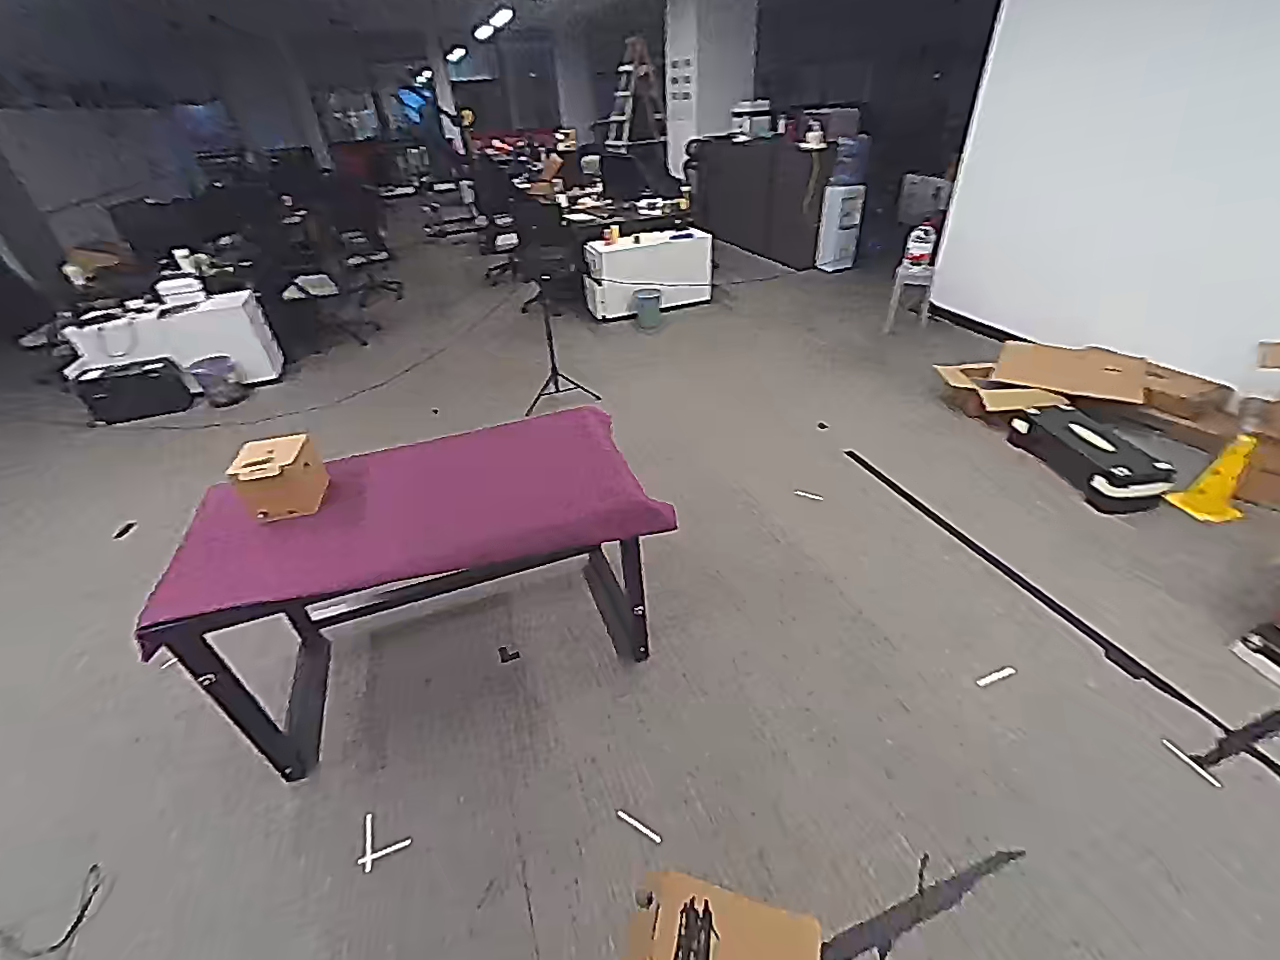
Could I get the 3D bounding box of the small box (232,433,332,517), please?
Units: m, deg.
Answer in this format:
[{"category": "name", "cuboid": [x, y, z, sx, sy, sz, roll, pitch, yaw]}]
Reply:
[{"category": "small box", "cuboid": [-1.006, -0.010, 1.538, 0.168, 0.176, 0.179, -10, 36, -10]}]
